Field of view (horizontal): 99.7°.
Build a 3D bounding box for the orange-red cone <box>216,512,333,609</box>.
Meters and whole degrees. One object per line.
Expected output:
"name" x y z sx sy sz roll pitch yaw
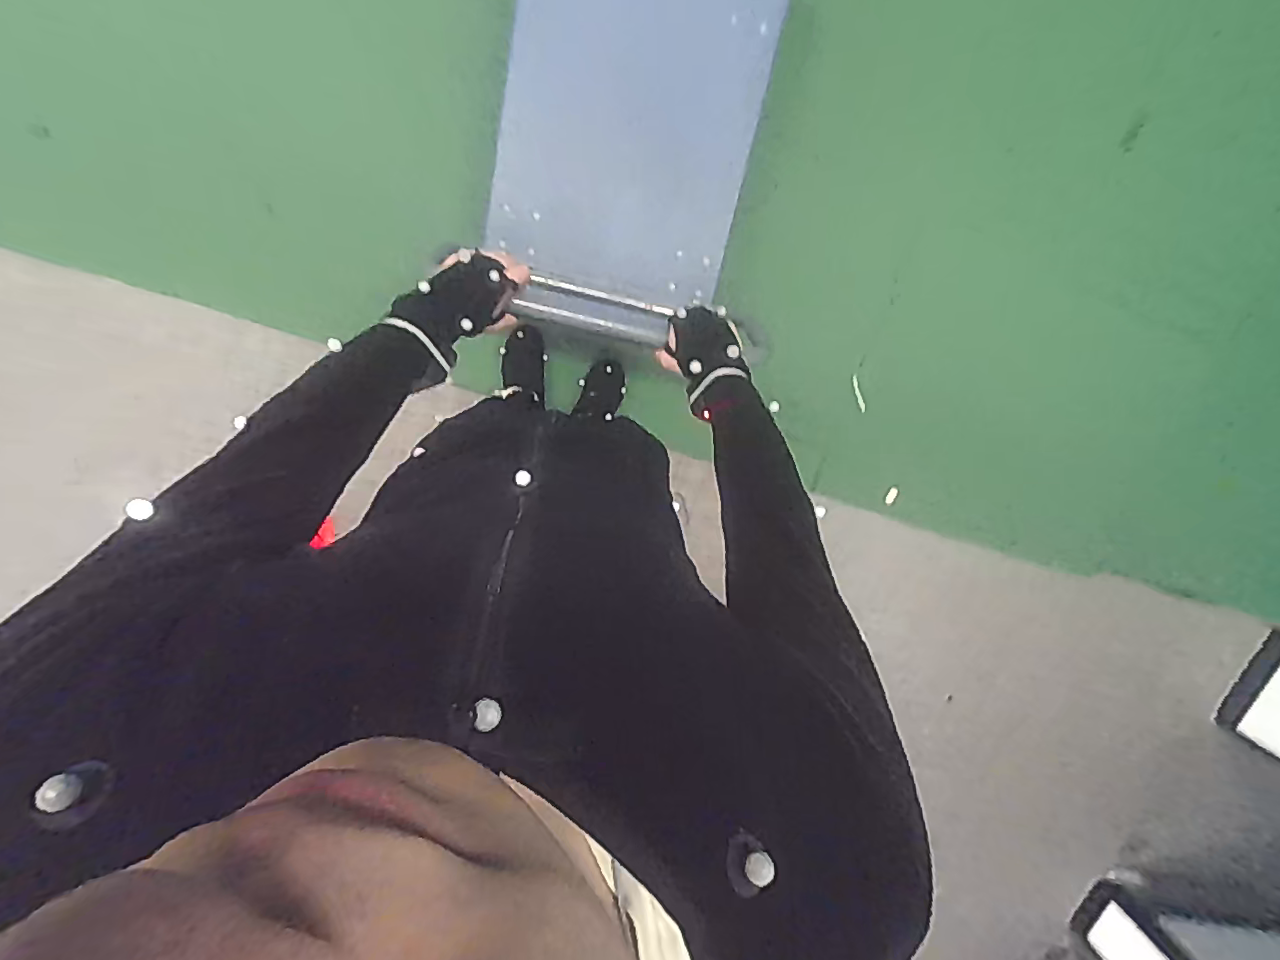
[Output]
"orange-red cone" -1.002 0.241 1.442 0.199 0.360 0.198 3 106 -6
